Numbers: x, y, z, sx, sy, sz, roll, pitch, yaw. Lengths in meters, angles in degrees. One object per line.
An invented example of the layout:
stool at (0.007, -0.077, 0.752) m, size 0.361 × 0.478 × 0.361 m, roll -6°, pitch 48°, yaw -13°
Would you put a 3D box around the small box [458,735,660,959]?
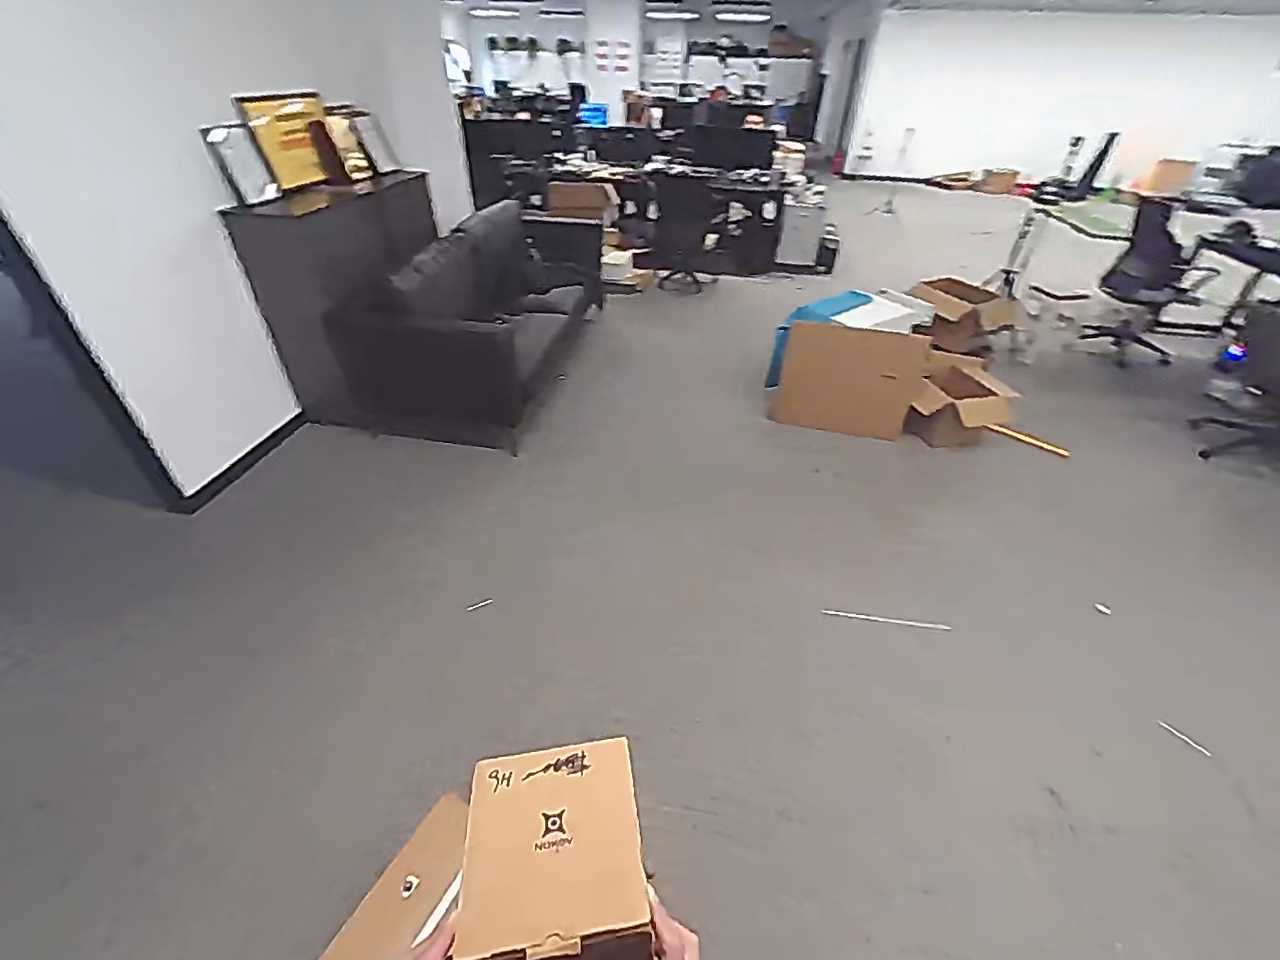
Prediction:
small box at (-0.072, 0.399, 0.551) m, size 0.168 × 0.176 × 0.179 m, roll -6°, pitch 32°, yaw -5°
